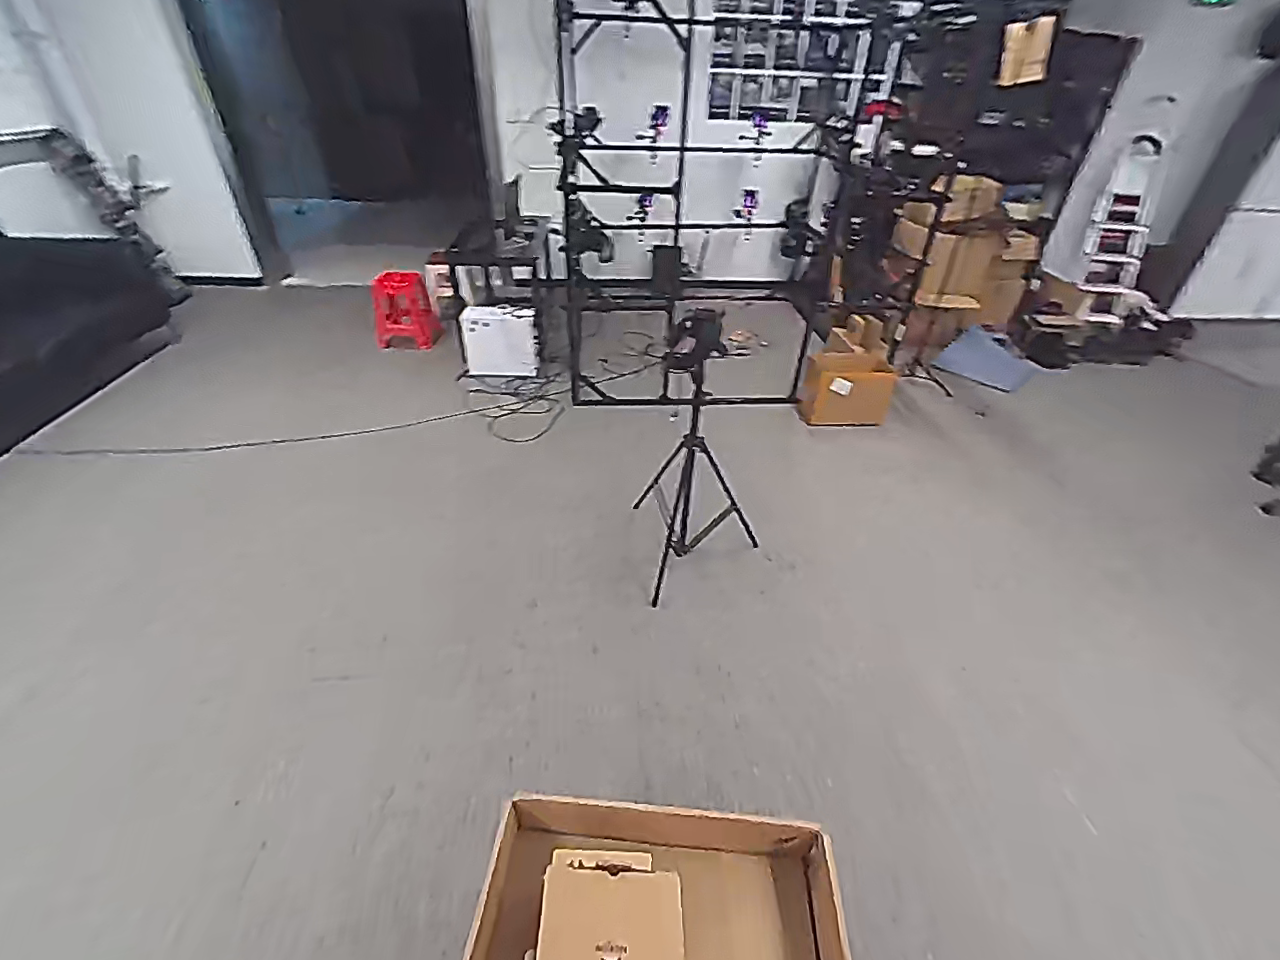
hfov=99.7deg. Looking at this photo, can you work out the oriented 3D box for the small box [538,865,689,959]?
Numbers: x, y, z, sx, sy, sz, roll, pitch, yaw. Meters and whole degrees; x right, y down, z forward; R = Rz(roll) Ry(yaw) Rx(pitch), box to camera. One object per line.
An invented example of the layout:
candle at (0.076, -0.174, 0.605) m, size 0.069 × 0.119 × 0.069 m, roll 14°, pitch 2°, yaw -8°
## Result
small box at (-0.039, 0.588, 0.629) m, size 0.168 × 0.176 × 0.179 m, roll 7°, pitch 34°, yaw -5°
